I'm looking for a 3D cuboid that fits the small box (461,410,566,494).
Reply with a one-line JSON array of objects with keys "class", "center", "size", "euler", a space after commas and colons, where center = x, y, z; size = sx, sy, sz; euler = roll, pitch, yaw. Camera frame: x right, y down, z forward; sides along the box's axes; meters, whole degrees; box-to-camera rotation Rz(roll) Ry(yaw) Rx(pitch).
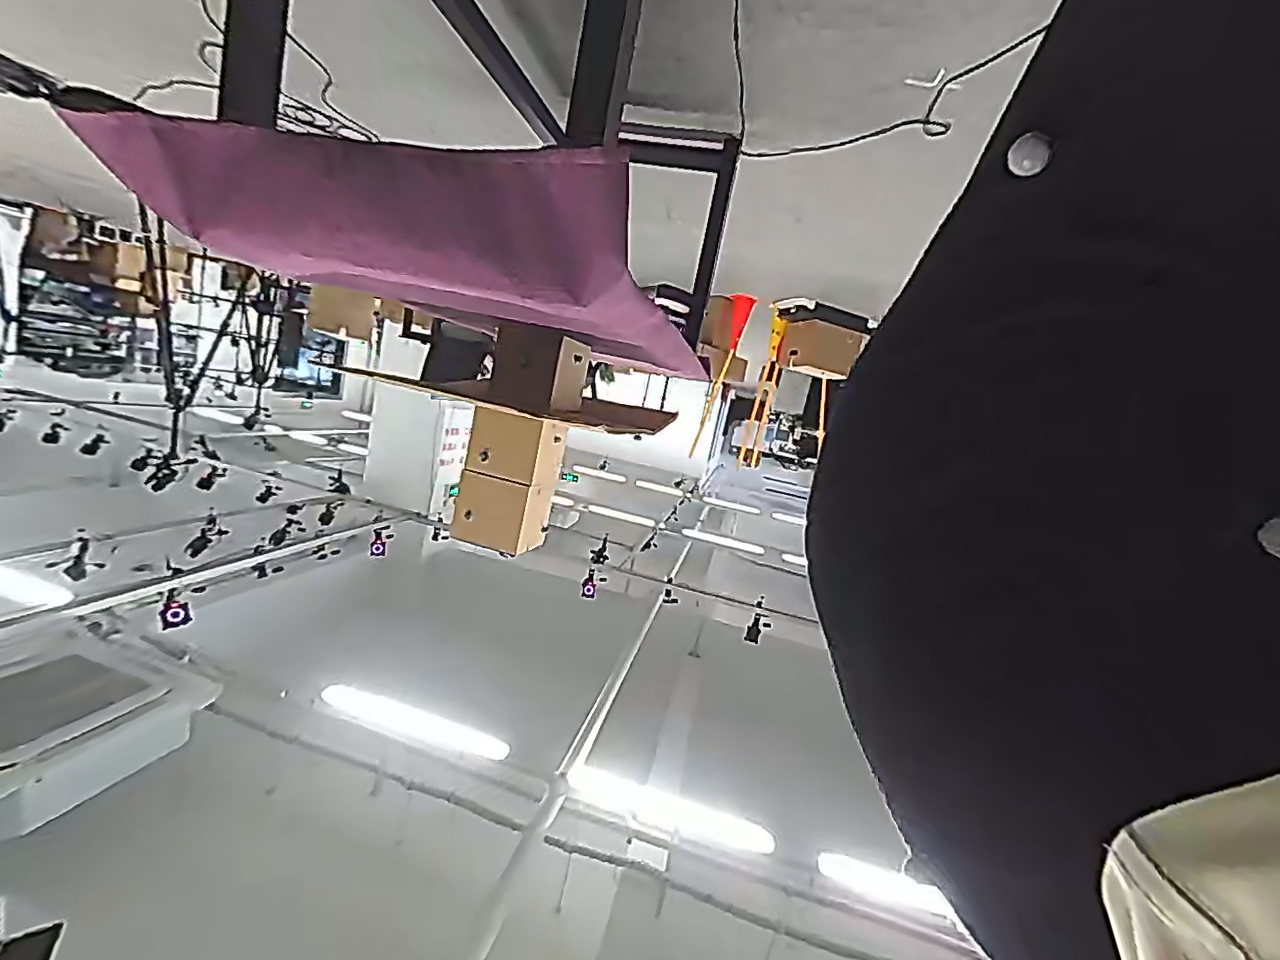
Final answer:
[{"class": "small box", "center": [-0.296, -0.071, 1.290], "size": [0.179, 0.176, 0.168], "euler": [13, -174, 11]}]
